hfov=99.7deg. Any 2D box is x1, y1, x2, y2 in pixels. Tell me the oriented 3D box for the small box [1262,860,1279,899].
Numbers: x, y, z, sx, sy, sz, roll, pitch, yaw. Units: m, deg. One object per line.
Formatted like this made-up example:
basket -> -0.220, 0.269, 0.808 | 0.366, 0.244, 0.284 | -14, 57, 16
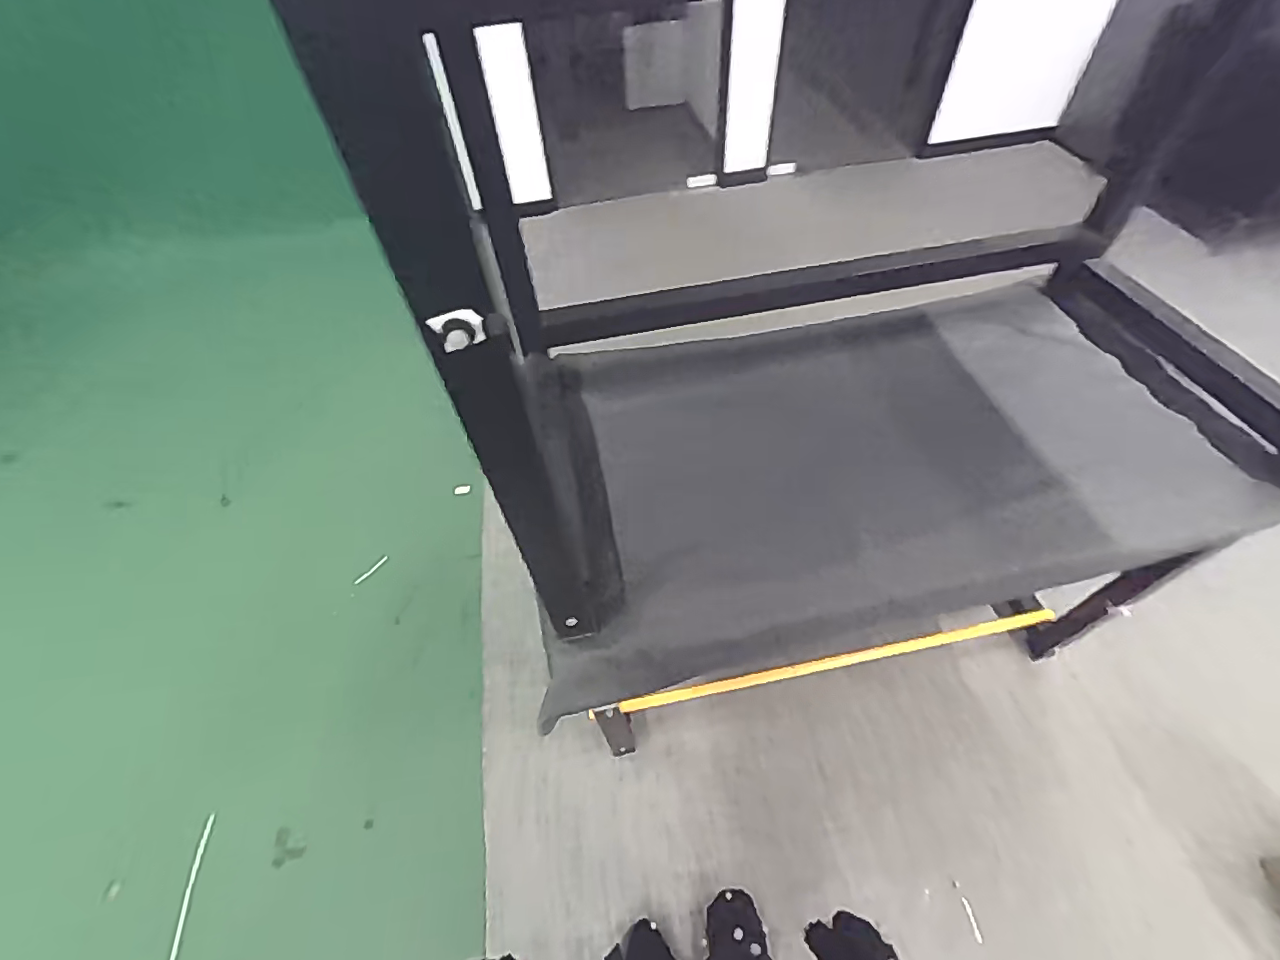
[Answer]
small box -> 1.384, 0.811, 1.025 | 0.179, 0.176, 0.168 | -6, 52, 0
